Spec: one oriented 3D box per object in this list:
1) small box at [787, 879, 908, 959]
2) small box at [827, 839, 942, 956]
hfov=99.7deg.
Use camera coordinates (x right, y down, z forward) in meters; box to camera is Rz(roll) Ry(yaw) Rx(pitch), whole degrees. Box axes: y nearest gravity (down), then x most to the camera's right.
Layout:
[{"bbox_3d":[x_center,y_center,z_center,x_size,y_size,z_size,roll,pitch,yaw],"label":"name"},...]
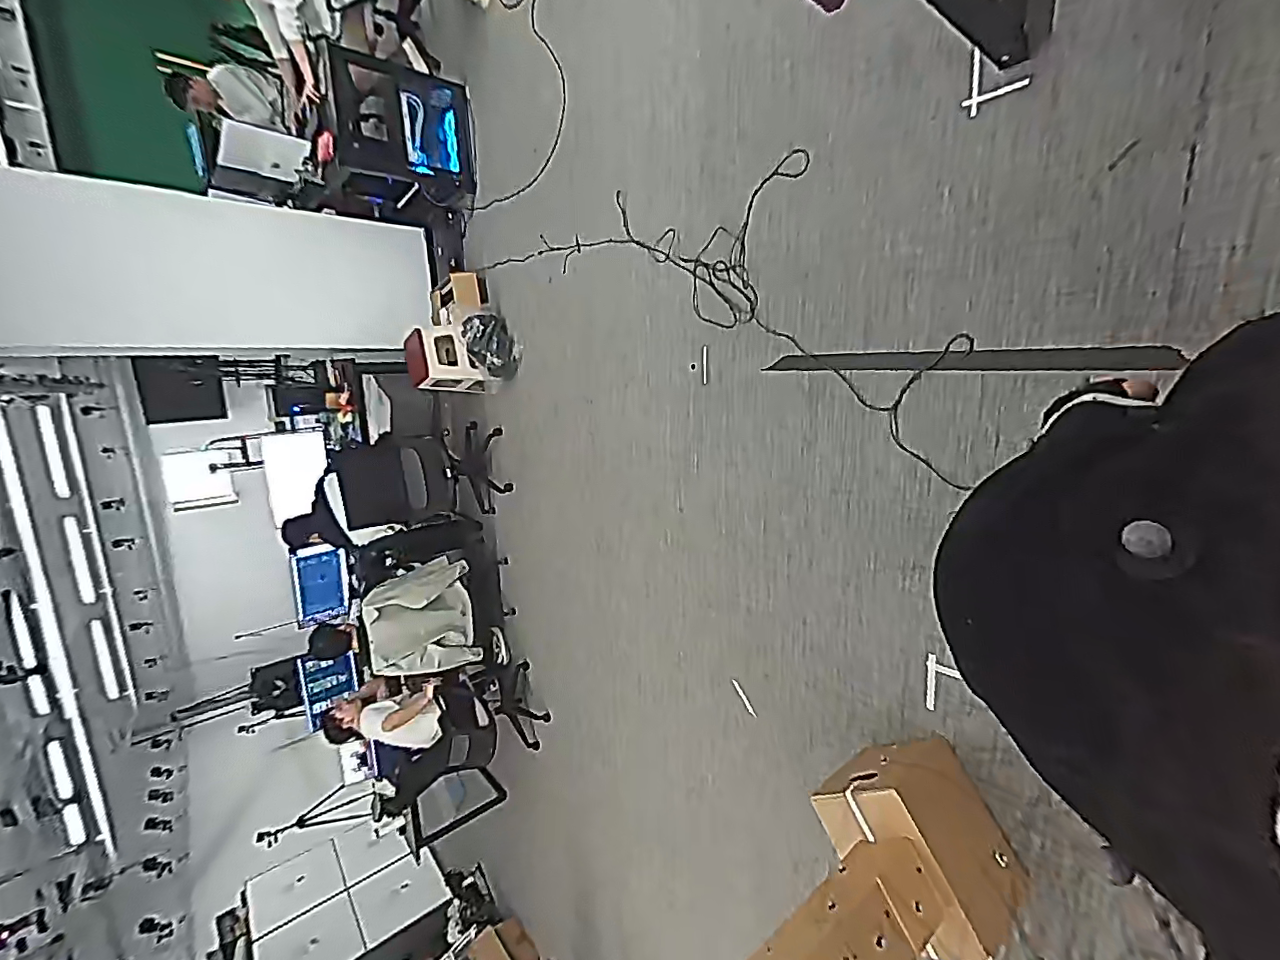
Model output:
[{"bbox_3d":[0.482,1.052,1.240,0.179,0.176,0.168,-47,63,46],"label":"small box"},{"bbox_3d":[0.611,1.019,1.336,0.179,0.176,0.168,-47,62,46],"label":"small box"}]
